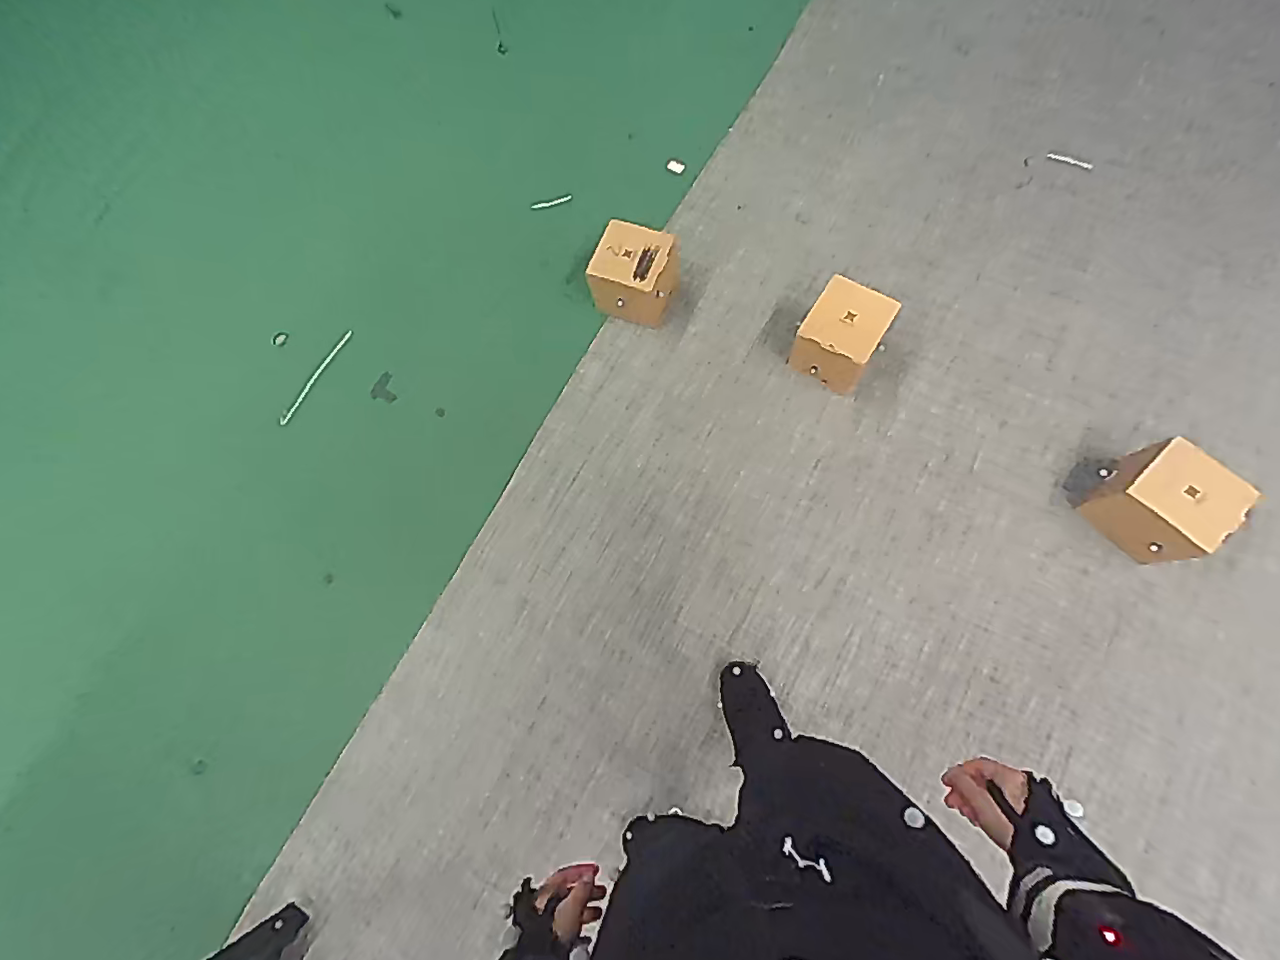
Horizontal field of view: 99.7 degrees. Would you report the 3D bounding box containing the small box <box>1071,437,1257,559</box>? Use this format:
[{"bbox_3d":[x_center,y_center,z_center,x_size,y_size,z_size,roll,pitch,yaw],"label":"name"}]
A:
[{"bbox_3d":[1.057,0.047,1.109,0.168,0.176,0.179,-44,74,-7],"label":"small box"}]

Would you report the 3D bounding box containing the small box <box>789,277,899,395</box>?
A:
[{"bbox_3d":[0.471,-0.335,1.281,0.168,0.176,0.179,31,81,14],"label":"small box"}]
